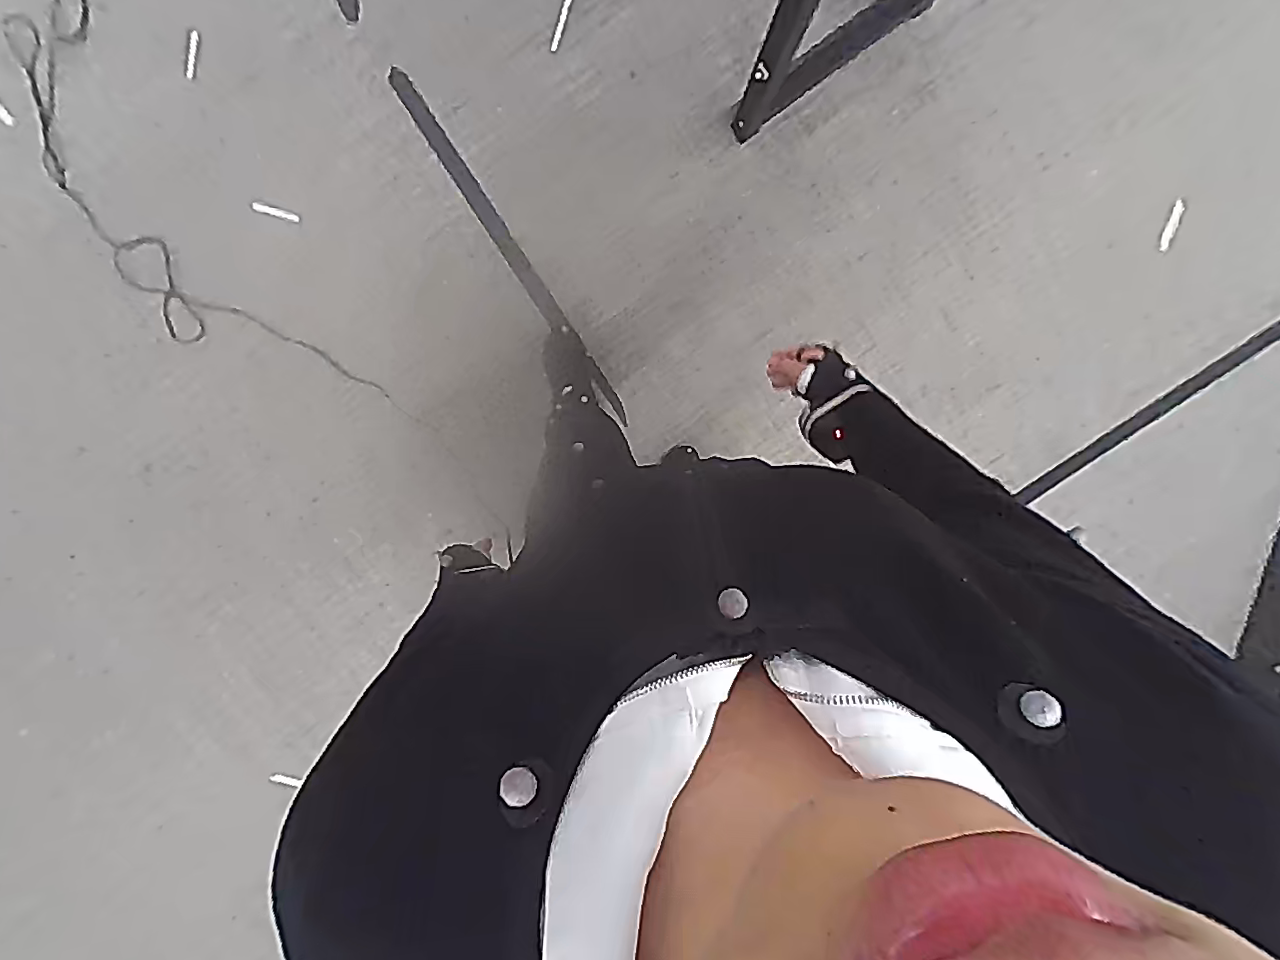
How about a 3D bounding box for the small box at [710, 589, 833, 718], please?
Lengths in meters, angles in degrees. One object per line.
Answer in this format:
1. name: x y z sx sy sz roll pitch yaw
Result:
1. small box: 0.265 0.350 1.138 0.168 0.176 0.179 -34 98 4
